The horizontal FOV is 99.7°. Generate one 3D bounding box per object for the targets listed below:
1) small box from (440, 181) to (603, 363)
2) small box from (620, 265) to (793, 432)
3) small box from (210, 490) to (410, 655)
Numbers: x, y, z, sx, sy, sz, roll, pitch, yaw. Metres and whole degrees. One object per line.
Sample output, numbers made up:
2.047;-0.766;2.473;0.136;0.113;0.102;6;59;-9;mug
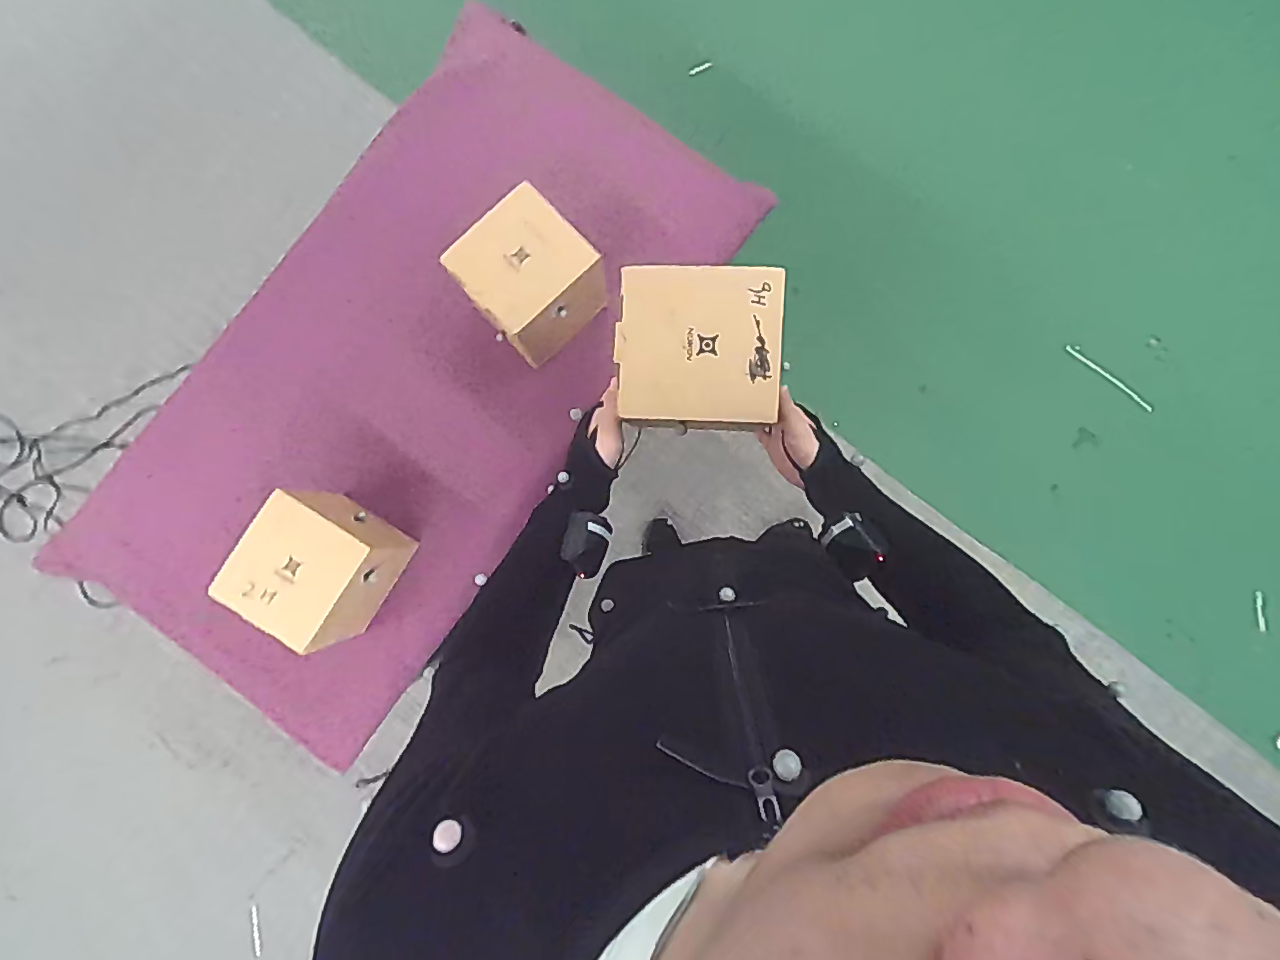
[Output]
-0.173;-0.315;0.859;0.179;0.176;0.168;-43;87;-2;small box
0.077;-0.147;0.653;0.179;0.176;0.168;3;93;5;small box
-0.485;0.133;0.830;0.168;0.176;0.179;32;87;3;small box
